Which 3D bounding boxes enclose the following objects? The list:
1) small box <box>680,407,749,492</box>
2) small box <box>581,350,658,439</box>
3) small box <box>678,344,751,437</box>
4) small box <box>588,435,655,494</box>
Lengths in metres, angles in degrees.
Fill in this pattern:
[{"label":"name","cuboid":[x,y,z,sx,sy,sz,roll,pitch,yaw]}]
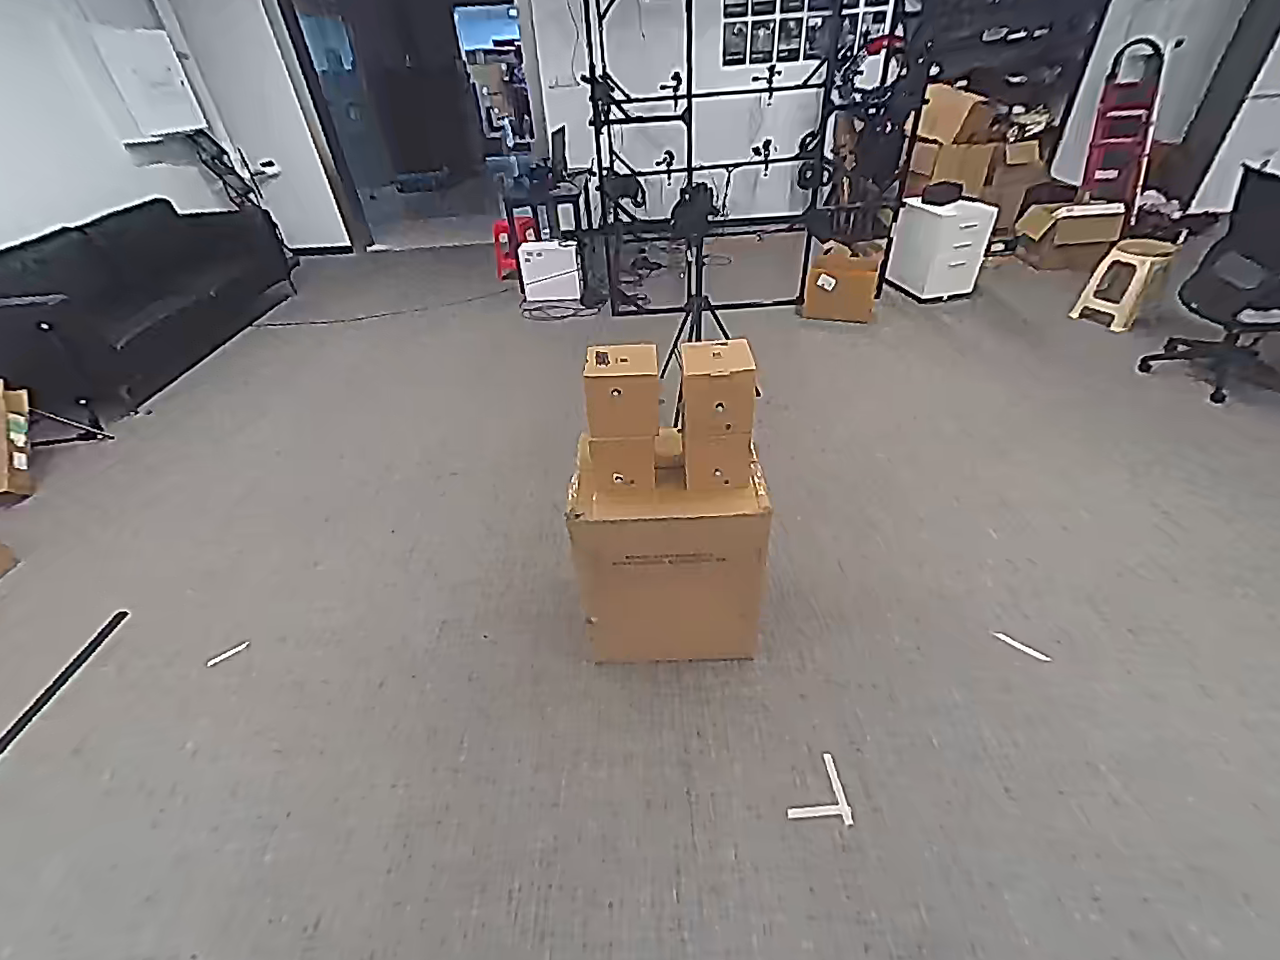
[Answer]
[{"label":"small box","cuboid":[0.192,-0.086,1.439,0.168,0.176,0.179,-4,38,3]},{"label":"small box","cuboid":[-0.047,-0.214,1.363,0.179,0.176,0.168,-2,38,1]},{"label":"small box","cuboid":[0.183,-0.218,1.342,0.168,0.176,0.179,-3,38,4]},{"label":"small box","cuboid":[-0.046,-0.080,1.459,0.168,0.176,0.179,-3,39,2]}]
